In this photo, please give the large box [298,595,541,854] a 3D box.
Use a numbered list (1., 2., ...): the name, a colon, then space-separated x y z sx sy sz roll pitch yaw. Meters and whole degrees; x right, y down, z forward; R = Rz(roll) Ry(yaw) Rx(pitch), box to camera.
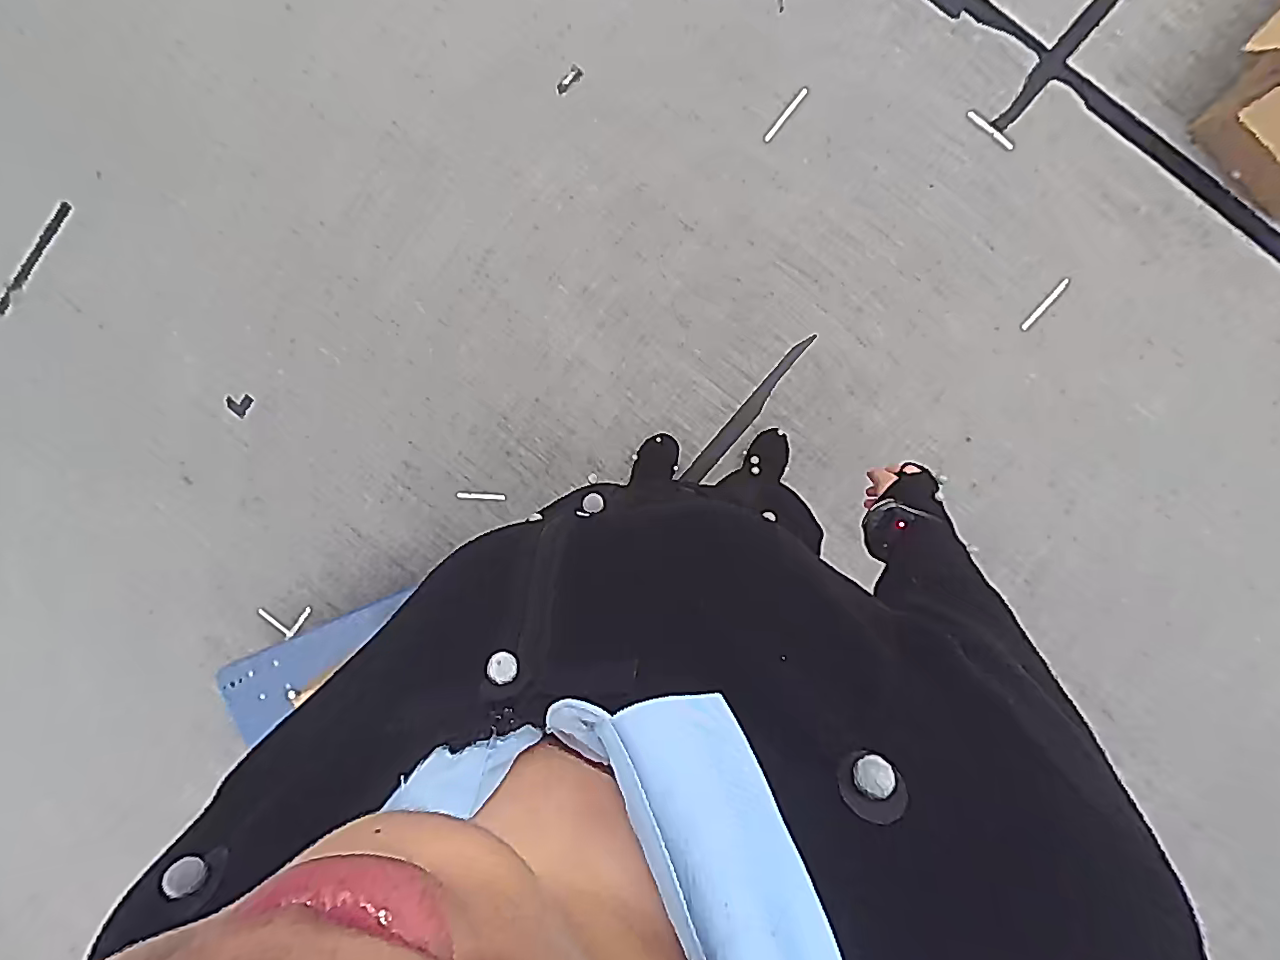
1. large box: -0.483 0.544 1.265 0.320 0.320 0.408 -24 93 5
